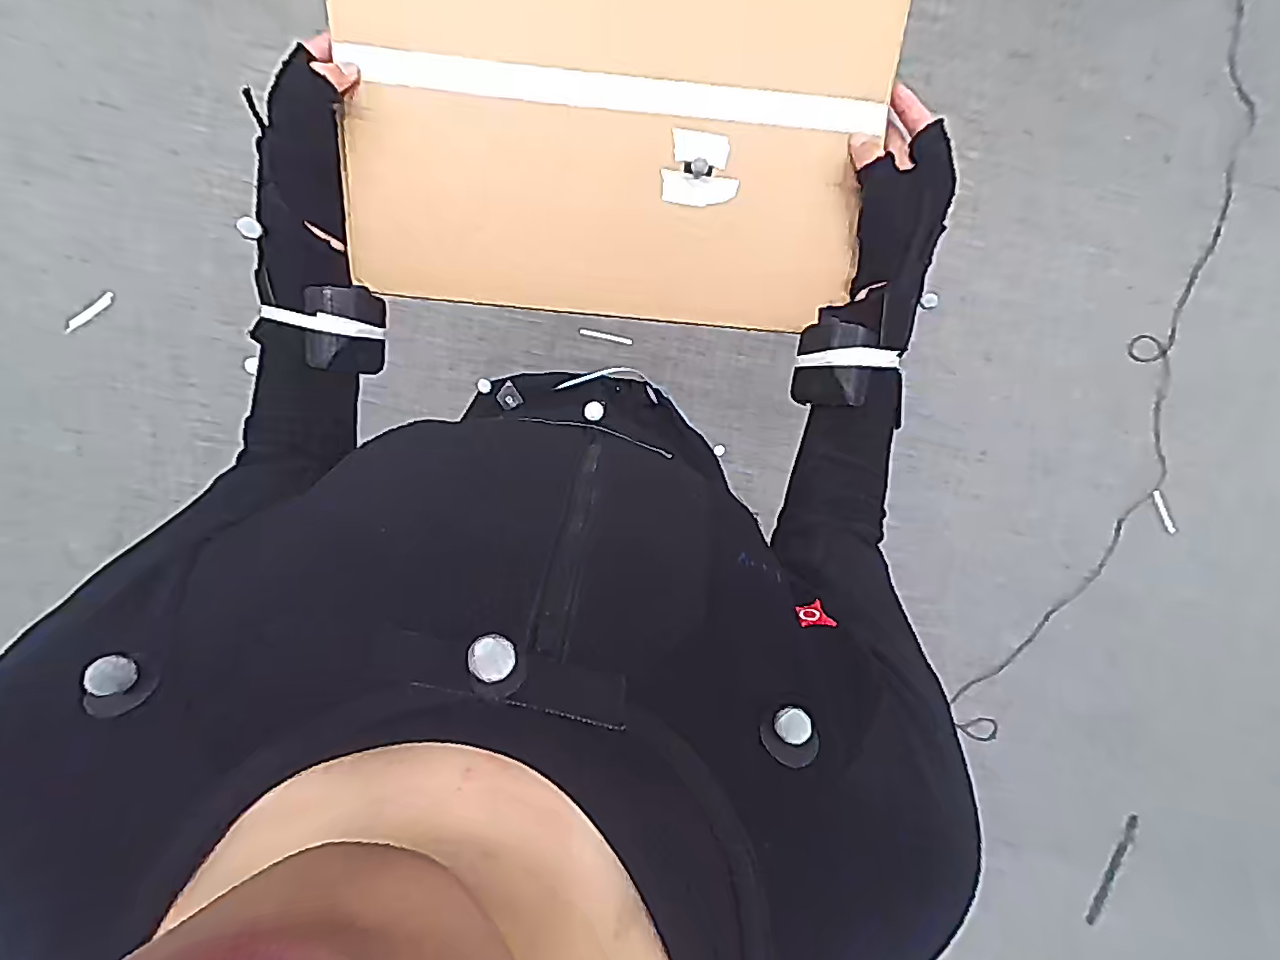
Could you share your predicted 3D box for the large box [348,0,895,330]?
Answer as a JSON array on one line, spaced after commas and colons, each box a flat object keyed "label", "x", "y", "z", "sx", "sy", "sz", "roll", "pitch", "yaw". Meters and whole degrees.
[{"label": "large box", "x": -0.023, "y": -0.333, "z": 0.553, "sx": 0.408, "sy": 0.320, "sz": 0.320, "roll": 4, "pitch": 110, "yaw": -4}]
